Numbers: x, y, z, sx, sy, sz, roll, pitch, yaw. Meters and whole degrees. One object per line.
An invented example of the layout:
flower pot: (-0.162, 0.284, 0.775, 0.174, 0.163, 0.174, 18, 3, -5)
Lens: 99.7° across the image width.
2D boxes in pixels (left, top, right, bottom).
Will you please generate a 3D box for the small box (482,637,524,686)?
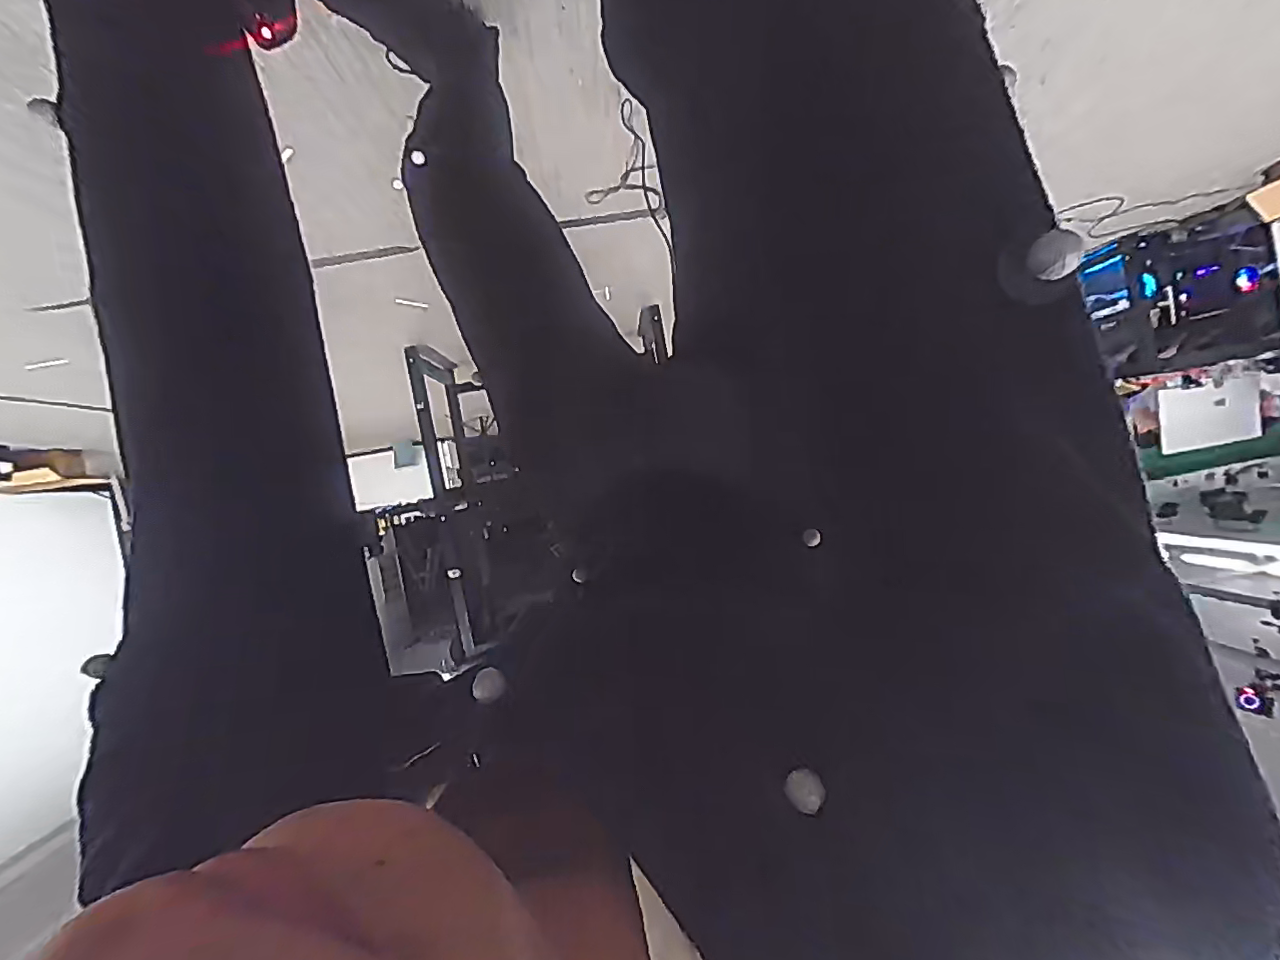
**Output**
small box: (-0.672, 0.886, 2.659, 0.168, 0.176, 0.179, -11, -179, -9)
